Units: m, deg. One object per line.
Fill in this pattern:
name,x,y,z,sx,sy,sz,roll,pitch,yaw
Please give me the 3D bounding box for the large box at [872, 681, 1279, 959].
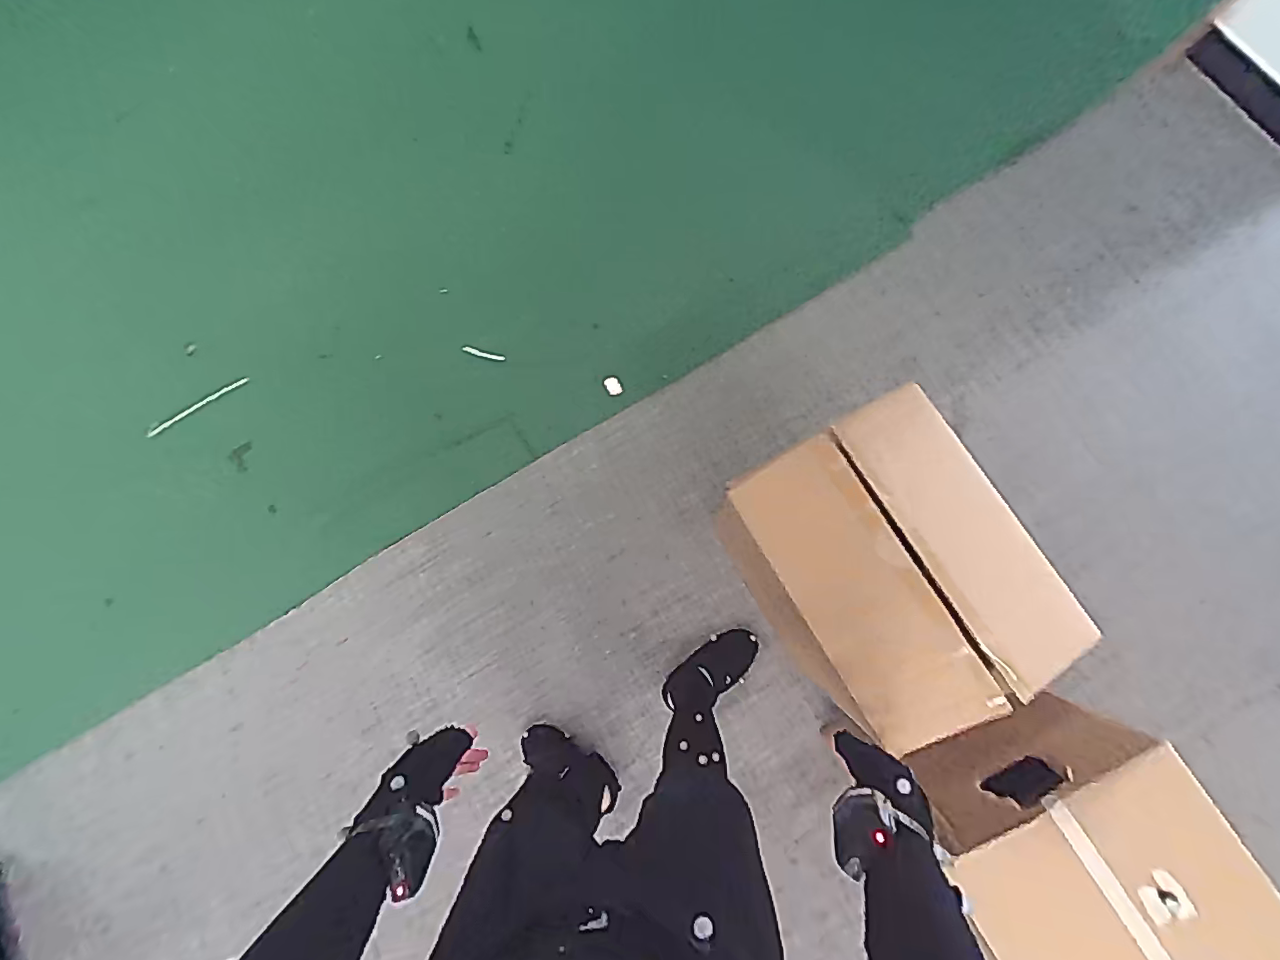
large box,0.610,0.569,0.768,0.320,0.320,0.408,-31,78,3
